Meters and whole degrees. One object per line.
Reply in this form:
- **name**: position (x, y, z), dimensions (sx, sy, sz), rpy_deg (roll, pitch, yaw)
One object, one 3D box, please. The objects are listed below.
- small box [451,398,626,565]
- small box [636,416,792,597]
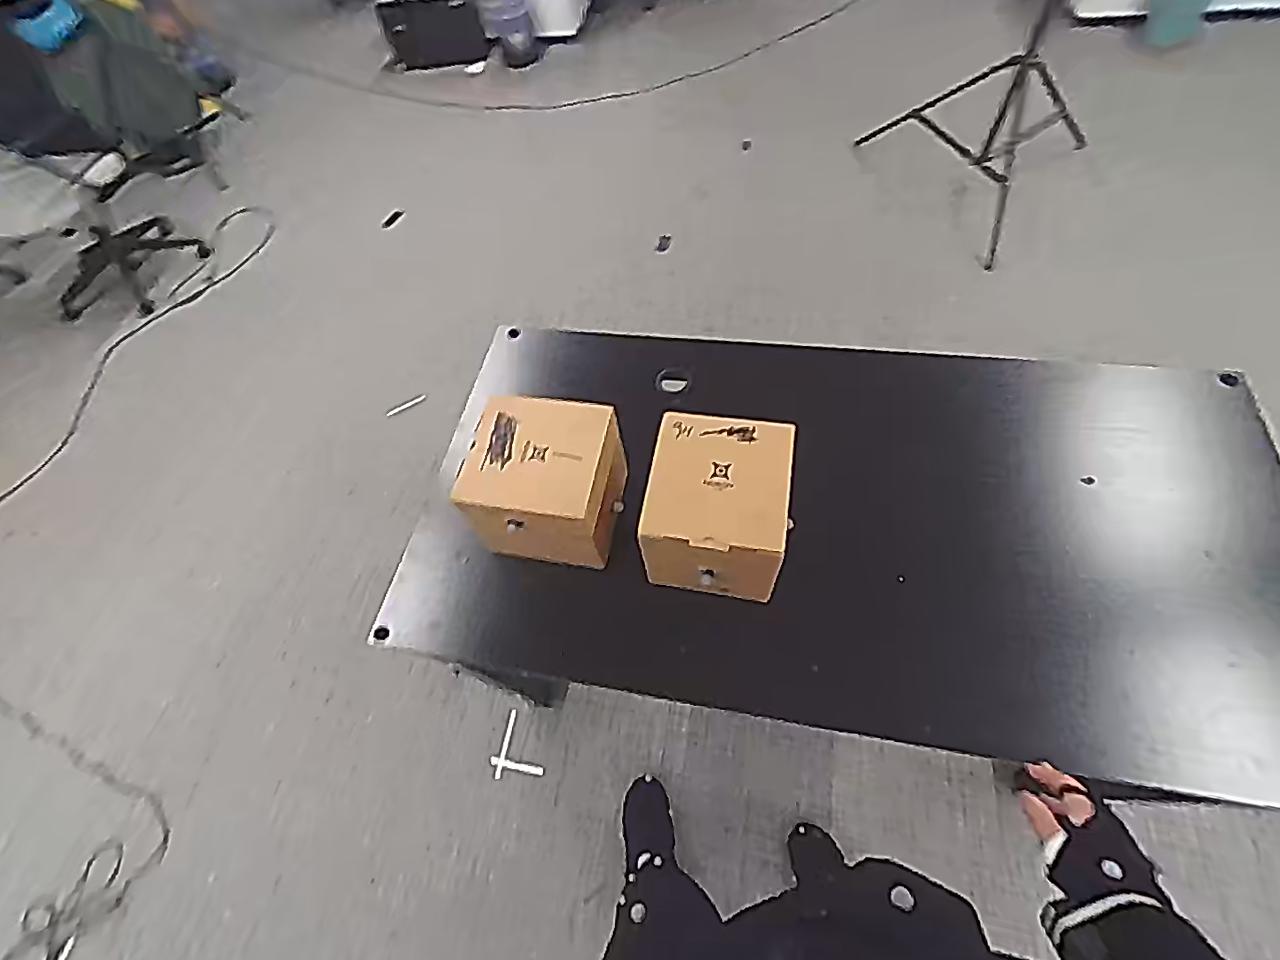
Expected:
- **small box**: position (-0.126, 0.007, 0.754), dimensions (0.179, 0.176, 0.168), rpy_deg (7, 62, 10)
- **small box**: position (0.101, 0.041, 0.711), dimensions (0.168, 0.176, 0.179), rpy_deg (7, 62, 11)
